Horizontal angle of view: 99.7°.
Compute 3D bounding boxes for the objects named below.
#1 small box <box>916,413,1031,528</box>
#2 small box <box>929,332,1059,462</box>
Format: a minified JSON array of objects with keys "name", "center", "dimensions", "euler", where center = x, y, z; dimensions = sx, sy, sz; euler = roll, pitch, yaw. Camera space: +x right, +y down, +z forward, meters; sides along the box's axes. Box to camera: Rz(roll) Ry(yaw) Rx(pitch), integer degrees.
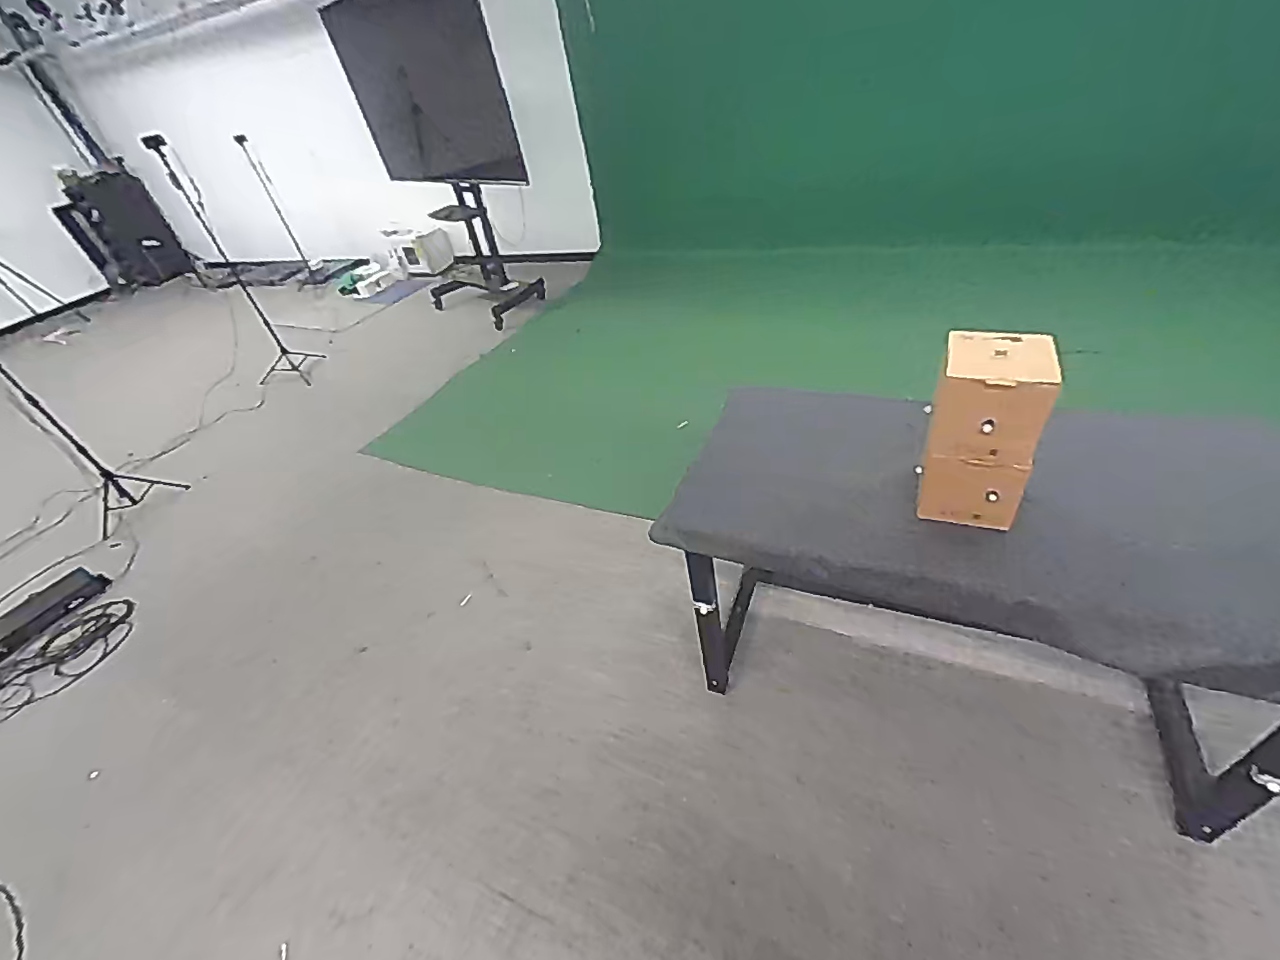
[{"name":"small box","center":[0.670,-0.027,1.103],"dimensions":[0.168,0.176,0.179],"euler":[10,43,22]},{"name":"small box","center":[0.646,-0.154,1.002],"dimensions":[0.168,0.176,0.179],"euler":[11,46,23]}]
